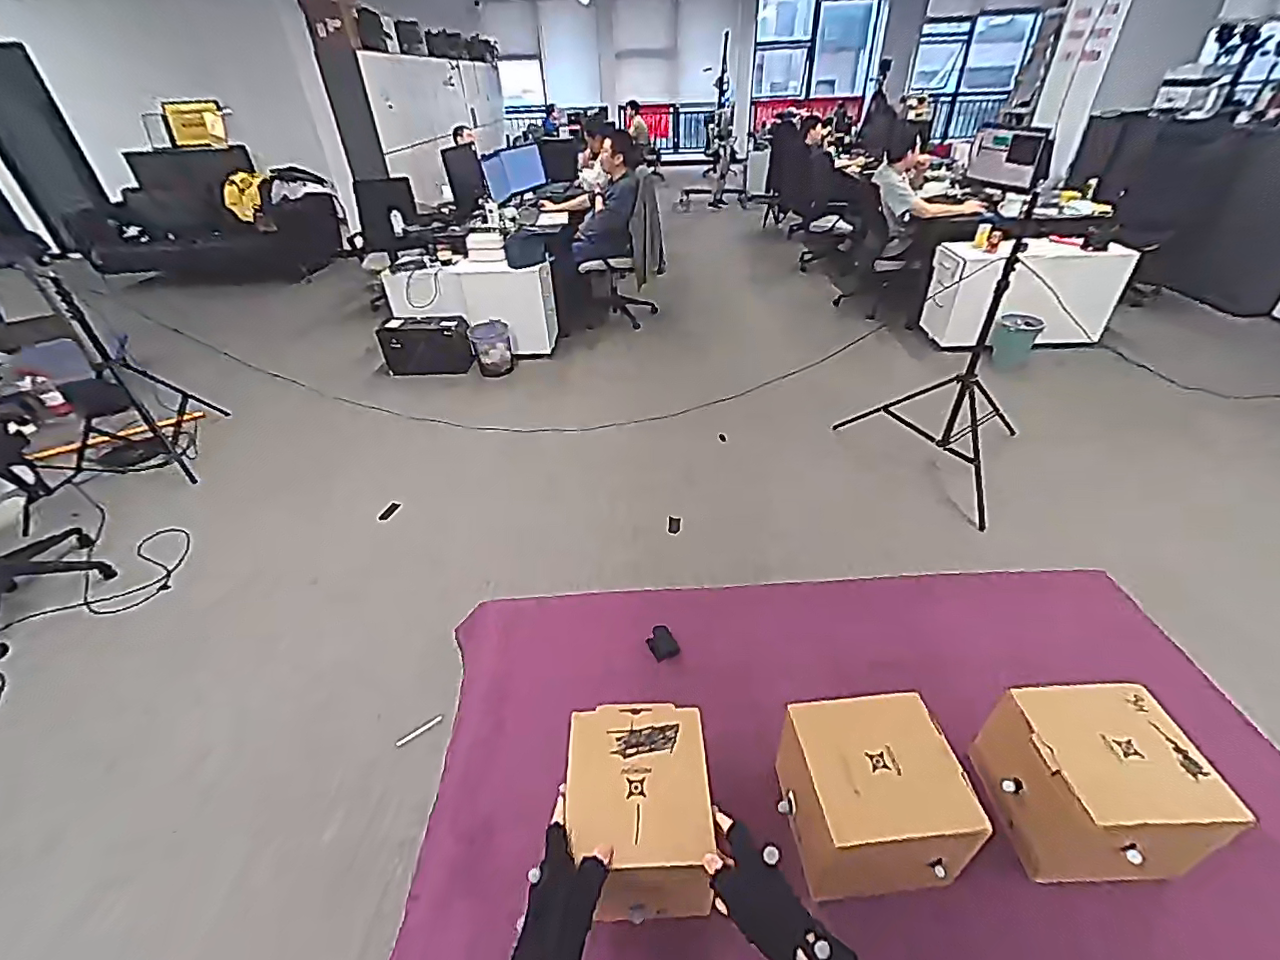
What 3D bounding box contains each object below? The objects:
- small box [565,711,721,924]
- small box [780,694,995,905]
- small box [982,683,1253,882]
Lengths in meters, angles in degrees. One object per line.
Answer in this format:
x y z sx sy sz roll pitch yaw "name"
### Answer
0.003 0.415 0.672 0.168 0.176 0.179 -3 37 0 "small box"
0.289 0.399 0.679 0.179 0.176 0.168 -6 34 -3 "small box"
0.568 0.381 0.682 0.179 0.176 0.168 -3 36 1 "small box"
